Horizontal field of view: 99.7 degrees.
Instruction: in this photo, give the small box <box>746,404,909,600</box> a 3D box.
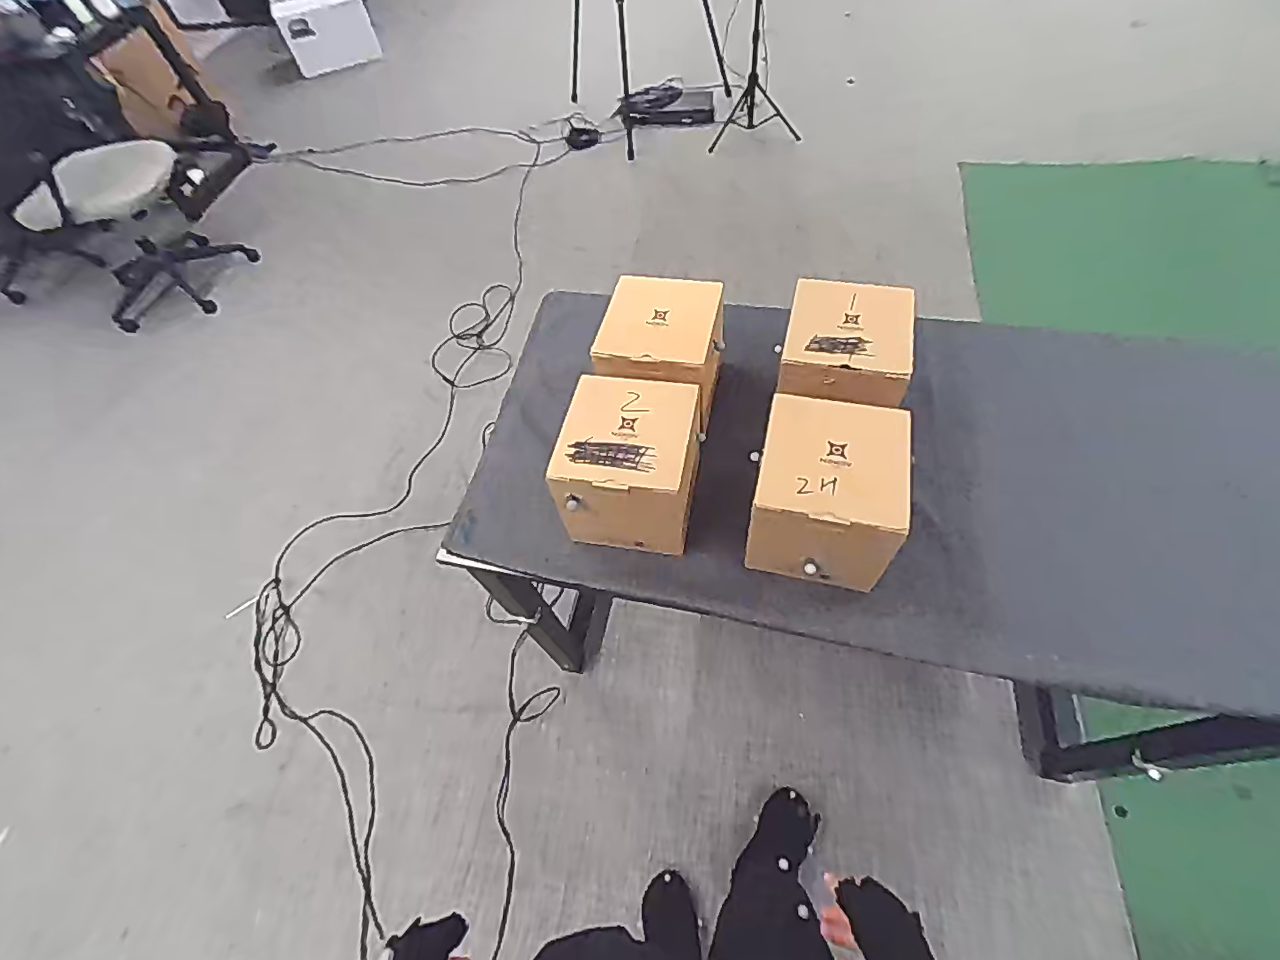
[{"bbox_3d":[0.235,0.031,0.703,0.168,0.176,0.179,10,58,13],"label":"small box"}]
